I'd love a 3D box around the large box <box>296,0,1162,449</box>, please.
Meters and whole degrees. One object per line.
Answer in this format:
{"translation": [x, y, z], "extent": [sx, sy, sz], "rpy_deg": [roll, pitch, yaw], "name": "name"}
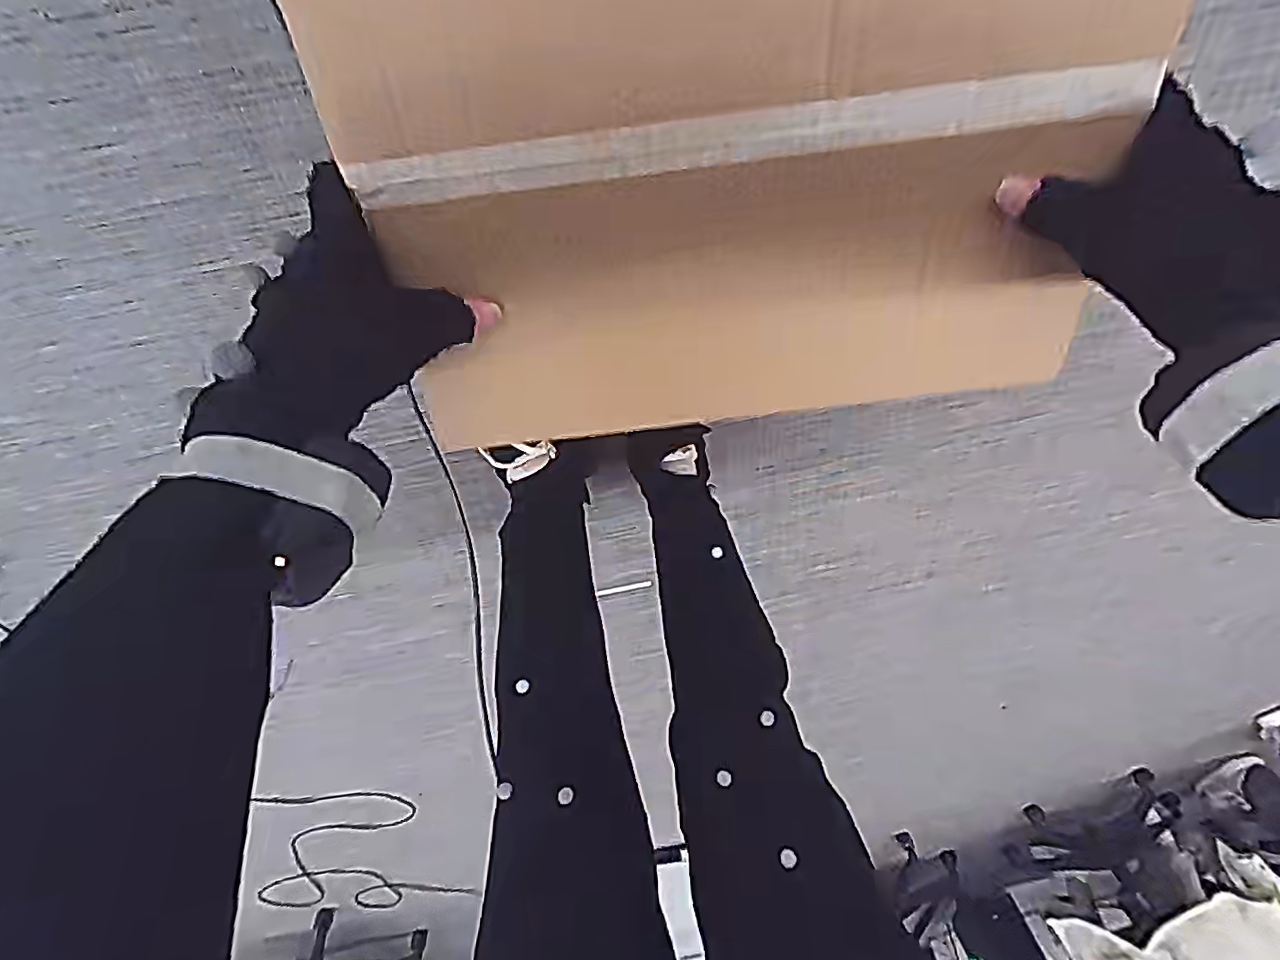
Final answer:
{"translation": [0.043, -0.254, 0.406], "extent": [0.408, 0.320, 0.320], "rpy_deg": [-7, 125, 1], "name": "large box"}
